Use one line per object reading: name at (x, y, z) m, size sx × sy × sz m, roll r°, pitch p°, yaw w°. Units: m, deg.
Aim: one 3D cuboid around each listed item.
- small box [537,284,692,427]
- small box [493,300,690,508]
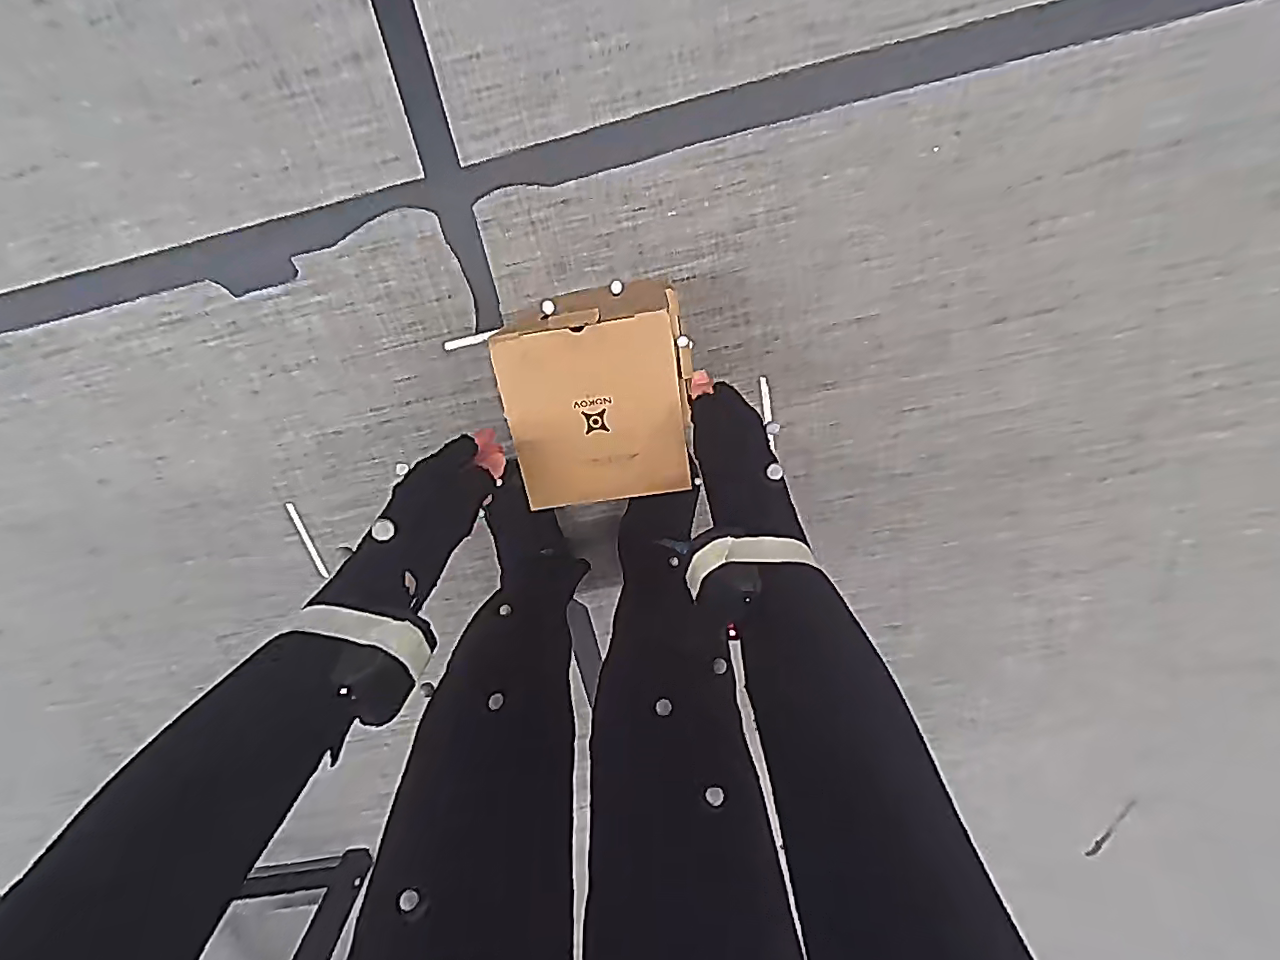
small box at (-0.032, -0.163, 0.729) m, size 0.179 × 0.176 × 0.168 m, roll -7°, pitch 113°, yaw 2°
small box at (-0.041, -0.091, 0.582) m, size 0.168 × 0.176 × 0.179 m, roll -7°, pitch 115°, yaw 5°
